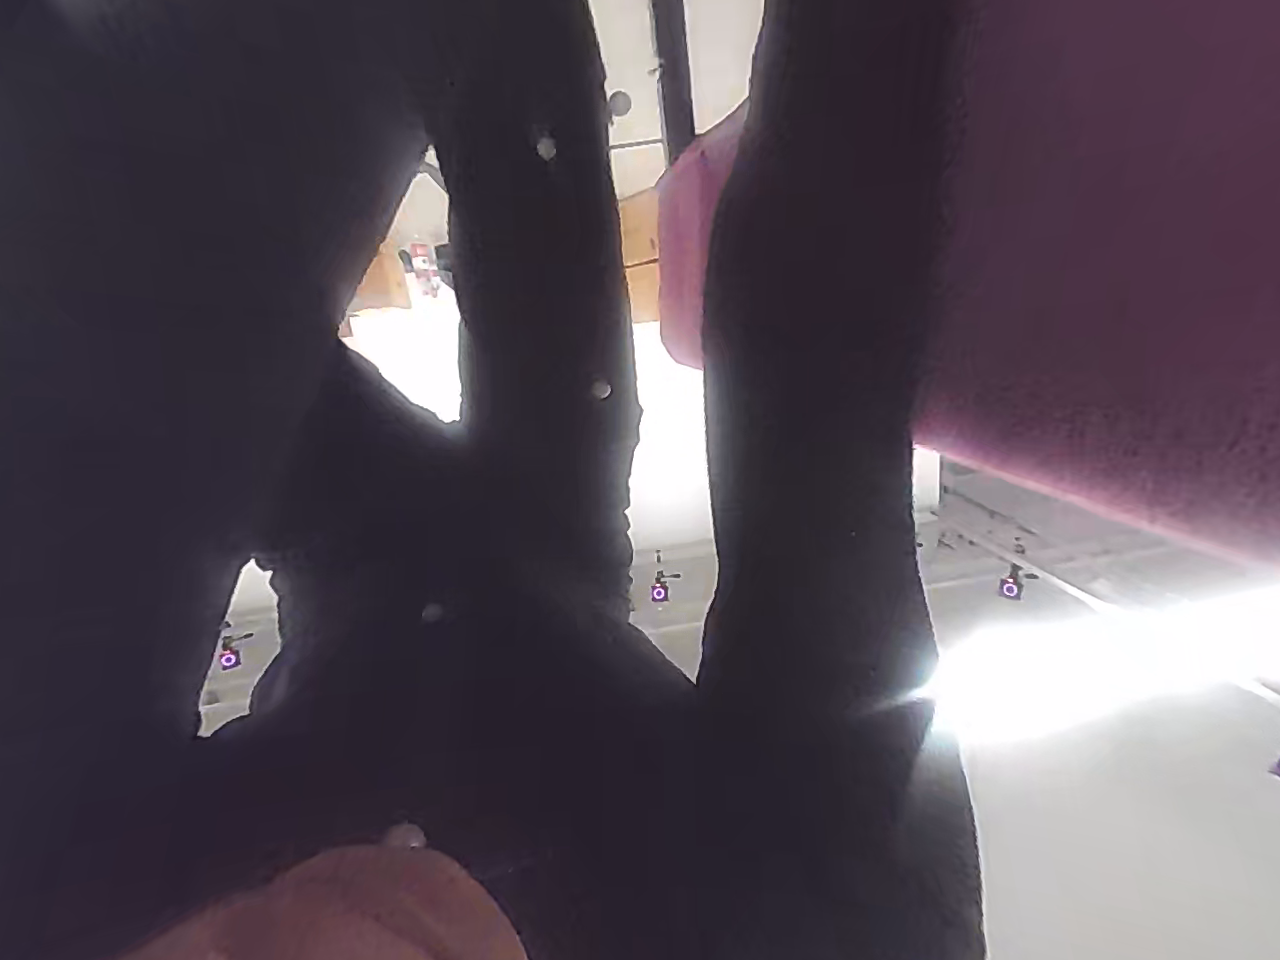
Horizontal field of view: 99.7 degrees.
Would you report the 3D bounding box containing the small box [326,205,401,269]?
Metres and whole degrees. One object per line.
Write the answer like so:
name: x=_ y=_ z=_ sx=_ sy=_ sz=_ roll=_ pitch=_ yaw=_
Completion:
small box: x=-0.928 y=-0.820 z=1.828 sx=0.168 sy=0.176 sz=0.179 roll=-9 pitch=-165 yaw=-7
